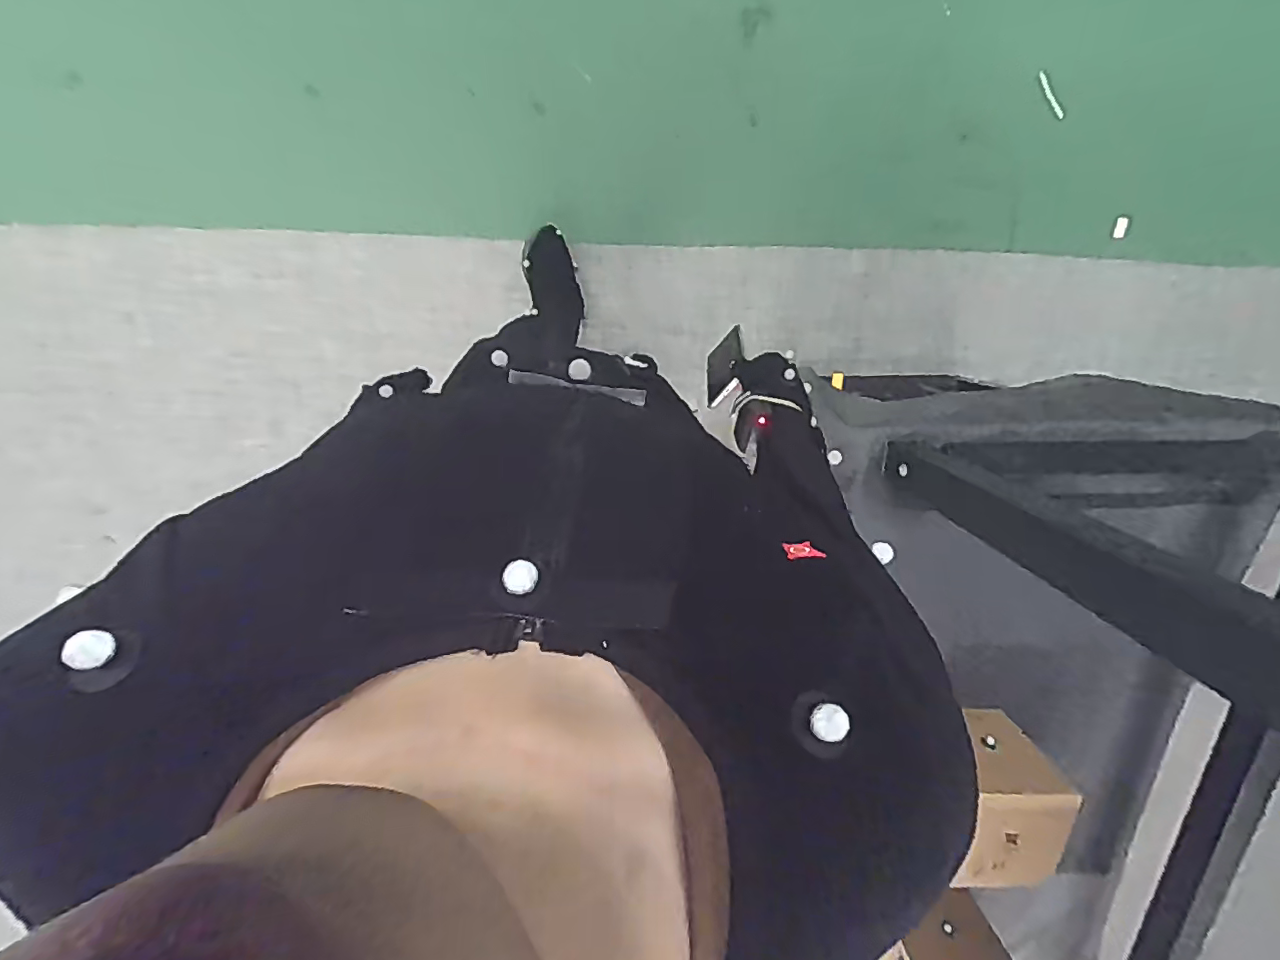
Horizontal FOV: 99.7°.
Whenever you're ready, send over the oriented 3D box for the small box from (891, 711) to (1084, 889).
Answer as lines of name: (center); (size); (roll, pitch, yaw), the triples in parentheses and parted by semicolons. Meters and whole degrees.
small box: (0.511, 0.477, 0.825); (0.168, 0.176, 0.179); (2, 107, -3)
